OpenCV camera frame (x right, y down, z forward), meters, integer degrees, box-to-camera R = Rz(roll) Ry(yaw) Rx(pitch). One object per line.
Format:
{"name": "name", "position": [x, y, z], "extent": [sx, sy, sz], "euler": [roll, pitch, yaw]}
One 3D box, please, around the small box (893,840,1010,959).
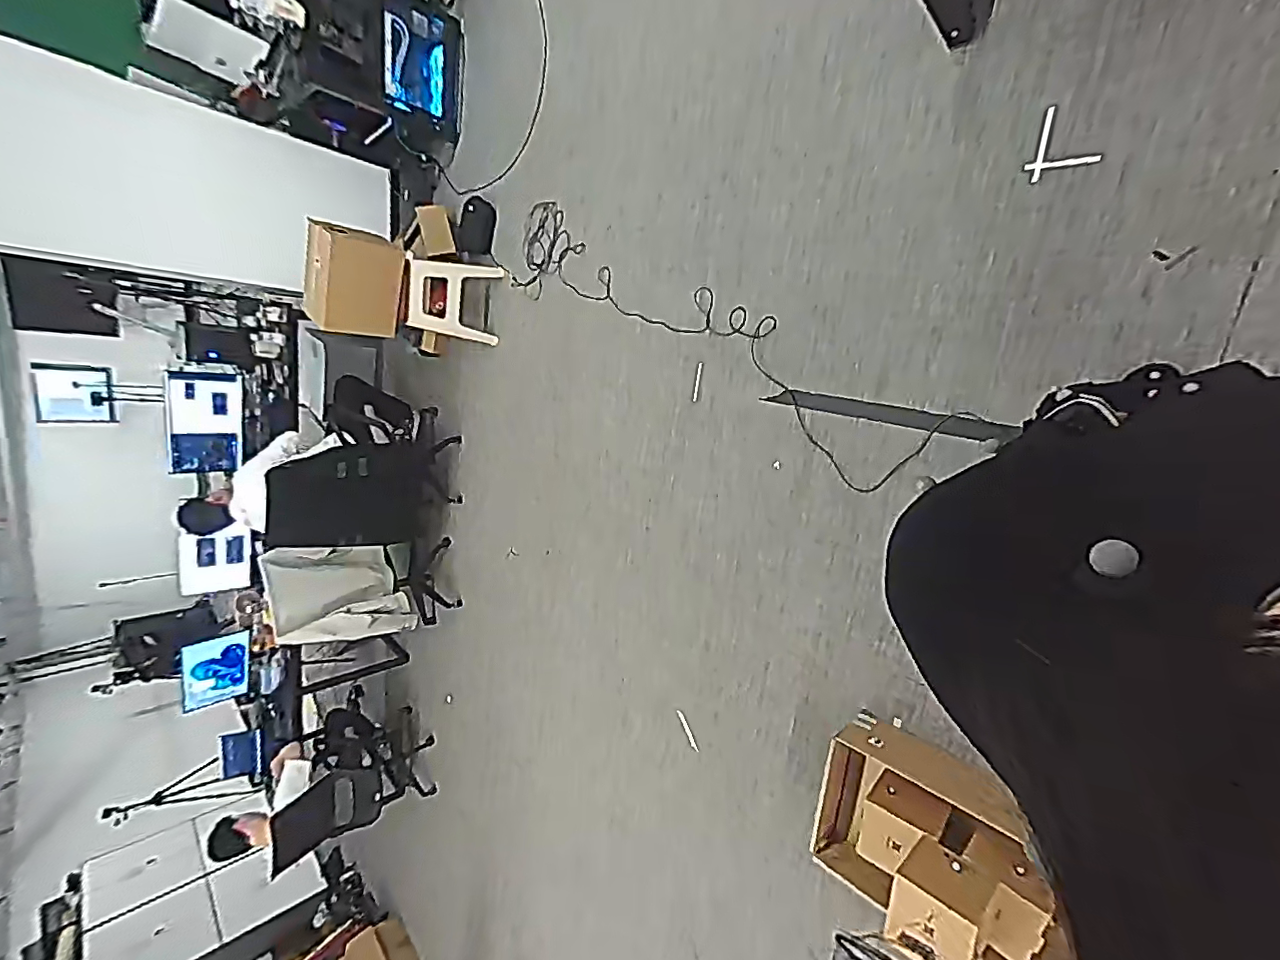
{"name": "small box", "position": [0.684, 0.950, 1.186], "extent": [0.168, 0.176, 0.179], "euler": [15, 104, 46]}
